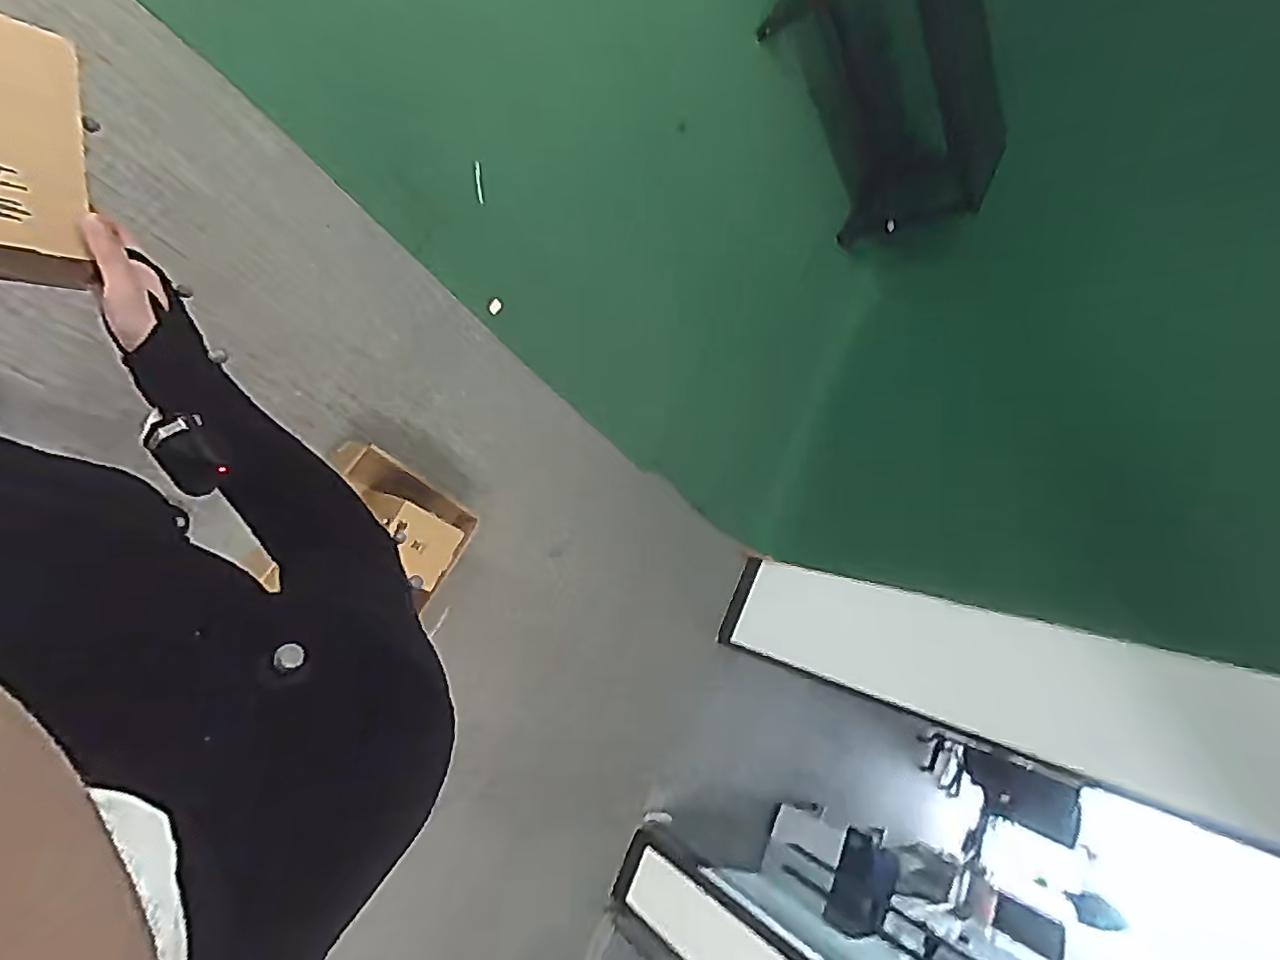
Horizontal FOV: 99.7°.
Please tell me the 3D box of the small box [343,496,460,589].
[{"bbox_3d":[-0.597,0.150,1.352,0.179,0.176,0.168,41,65,-40],"label":"small box"}]
